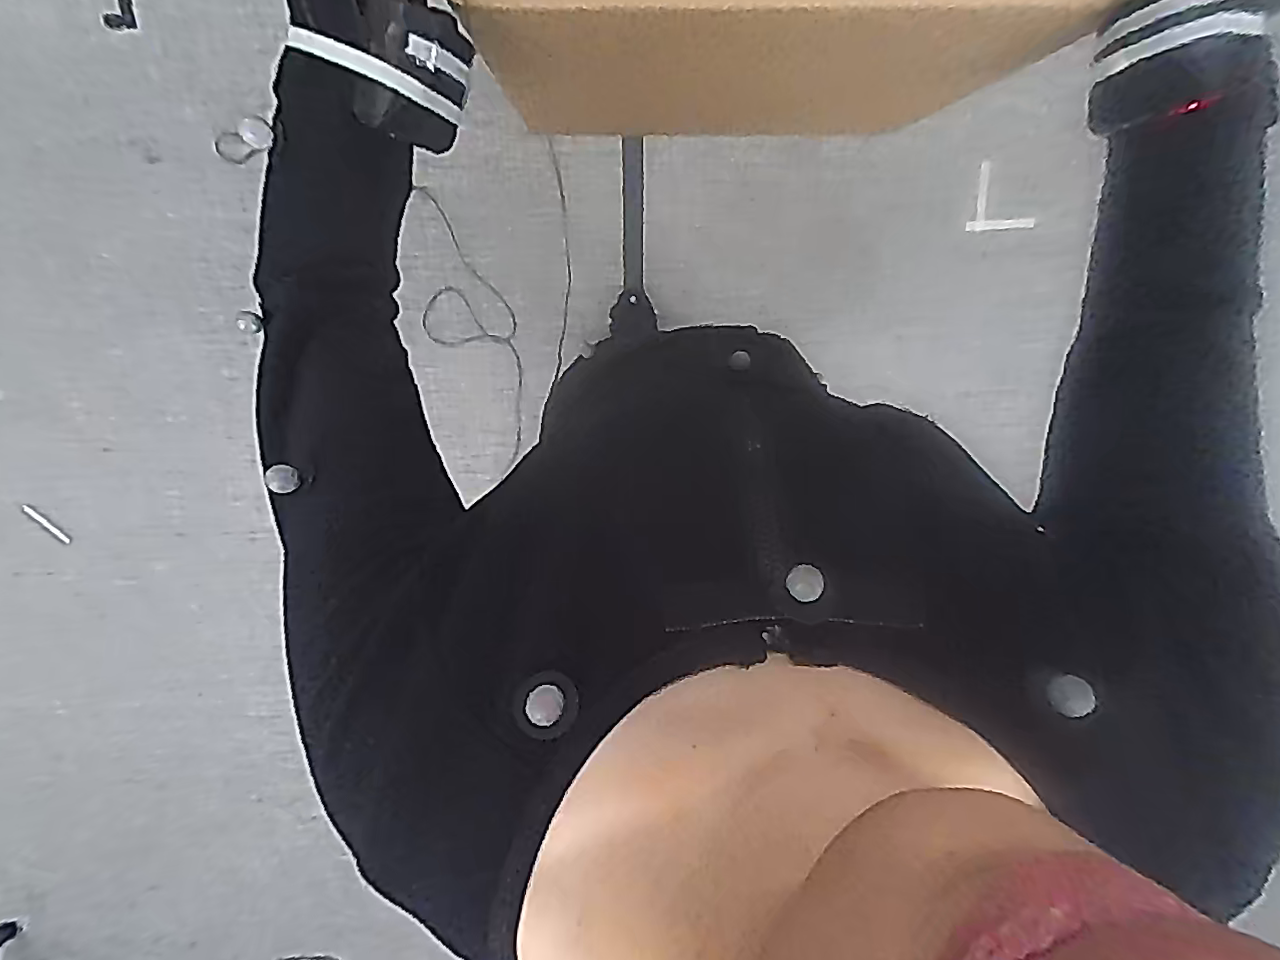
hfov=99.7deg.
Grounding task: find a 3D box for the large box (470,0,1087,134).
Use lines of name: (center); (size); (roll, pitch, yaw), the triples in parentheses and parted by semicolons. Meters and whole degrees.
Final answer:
large box: (0.081, -0.478, 0.401); (0.408, 0.320, 0.320); (-2, 111, -2)
